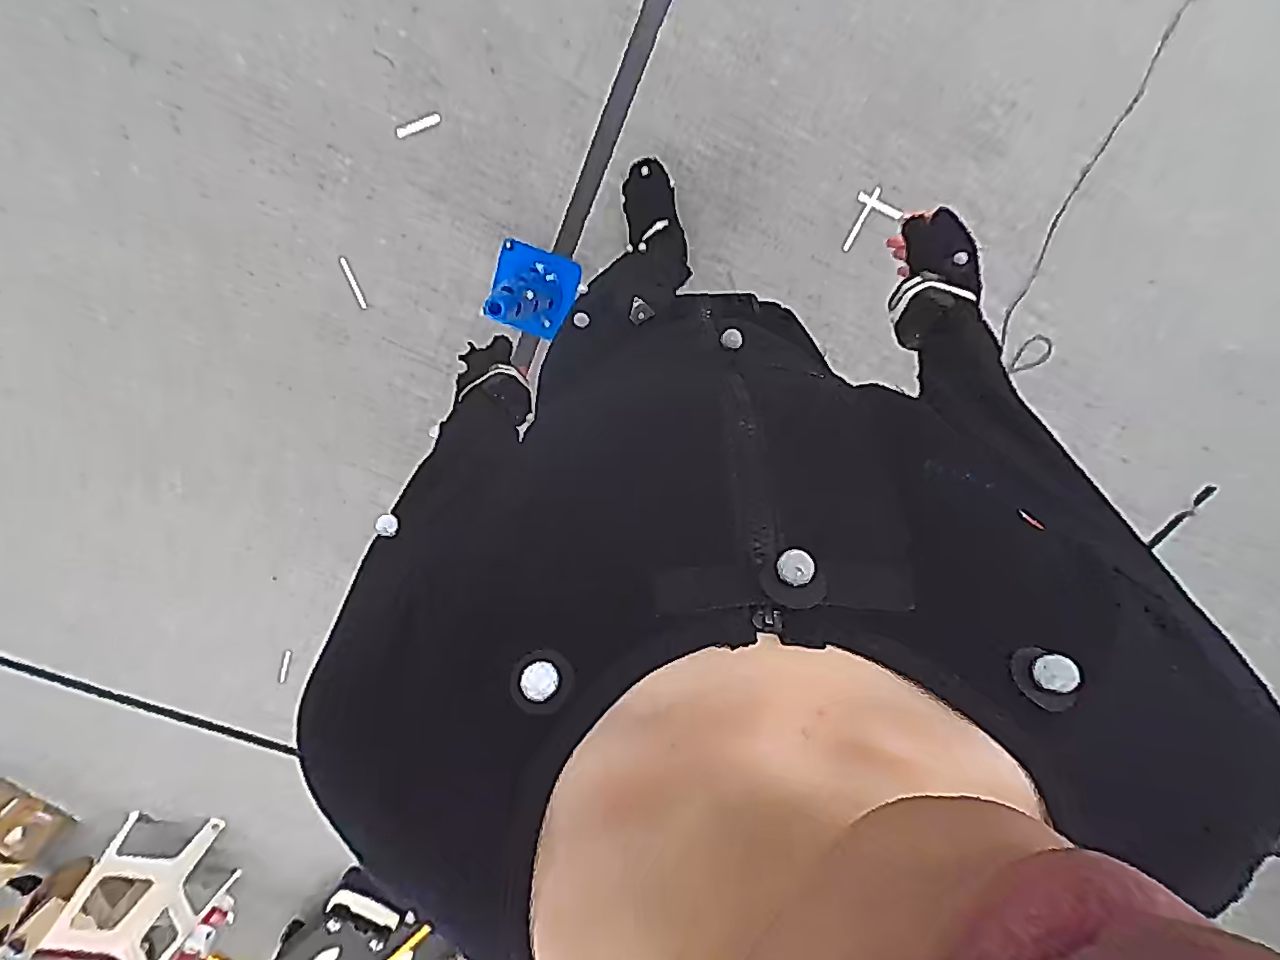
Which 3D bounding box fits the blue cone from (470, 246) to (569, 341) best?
[{"bbox_3d":[-0.284,-0.390,1.179,0.192,0.380,0.193,20,112,-6],"label":"blue cone"}]
